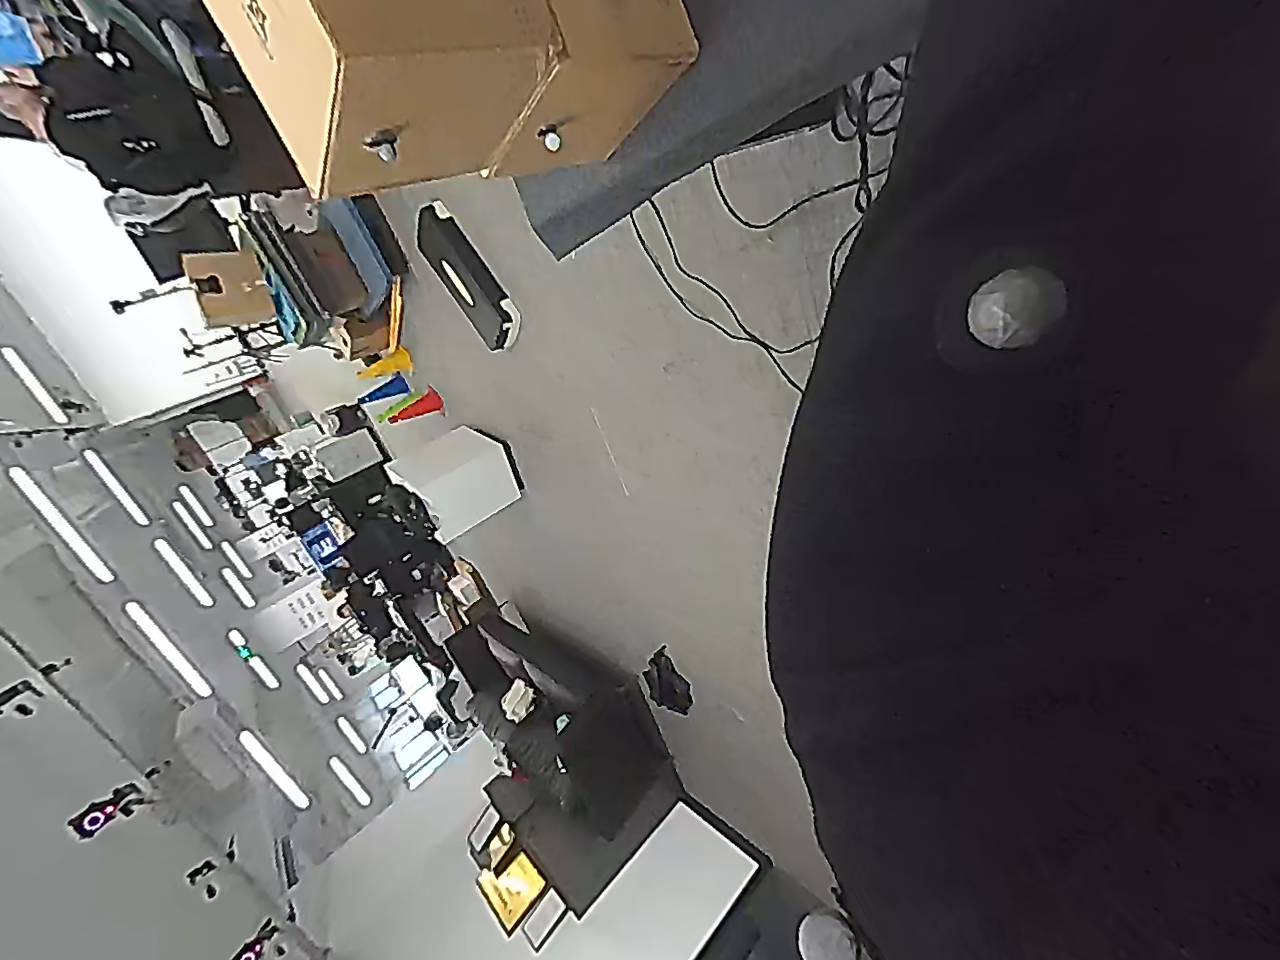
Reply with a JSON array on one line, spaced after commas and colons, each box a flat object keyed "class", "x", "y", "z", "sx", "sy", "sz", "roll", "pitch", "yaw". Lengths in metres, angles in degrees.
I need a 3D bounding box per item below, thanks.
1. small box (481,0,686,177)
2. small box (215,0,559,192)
[{"class": "small box", "x": -0.080, "y": -0.419, "z": 0.499, "sx": 0.179, "sy": 0.176, "sz": 0.168, "roll": -7, "pitch": 112, "yaw": 56}, {"class": "small box", "x": -0.189, "y": -0.348, "z": 0.400, "sx": 0.179, "sy": 0.176, "sz": 0.168, "roll": -6, "pitch": 114, "yaw": 55}]
